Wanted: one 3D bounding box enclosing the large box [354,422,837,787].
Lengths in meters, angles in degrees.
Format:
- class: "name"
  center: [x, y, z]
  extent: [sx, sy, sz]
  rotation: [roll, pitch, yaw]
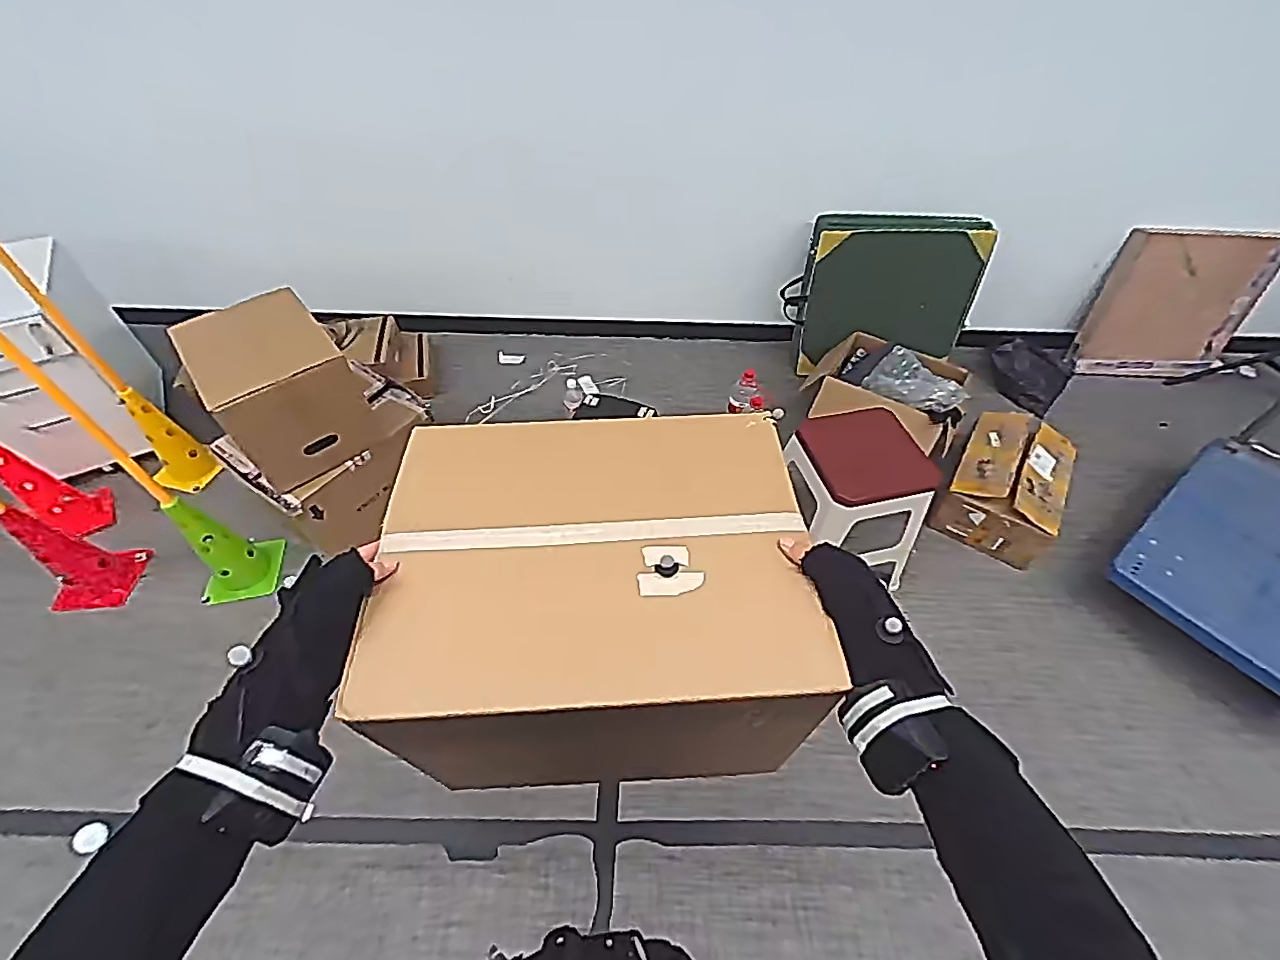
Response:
- class: "large box"
  center: [-0.043, 0.153, 0.645]
  extent: [0.408, 0.320, 0.320]
  rotation: [-2, 51, -2]
